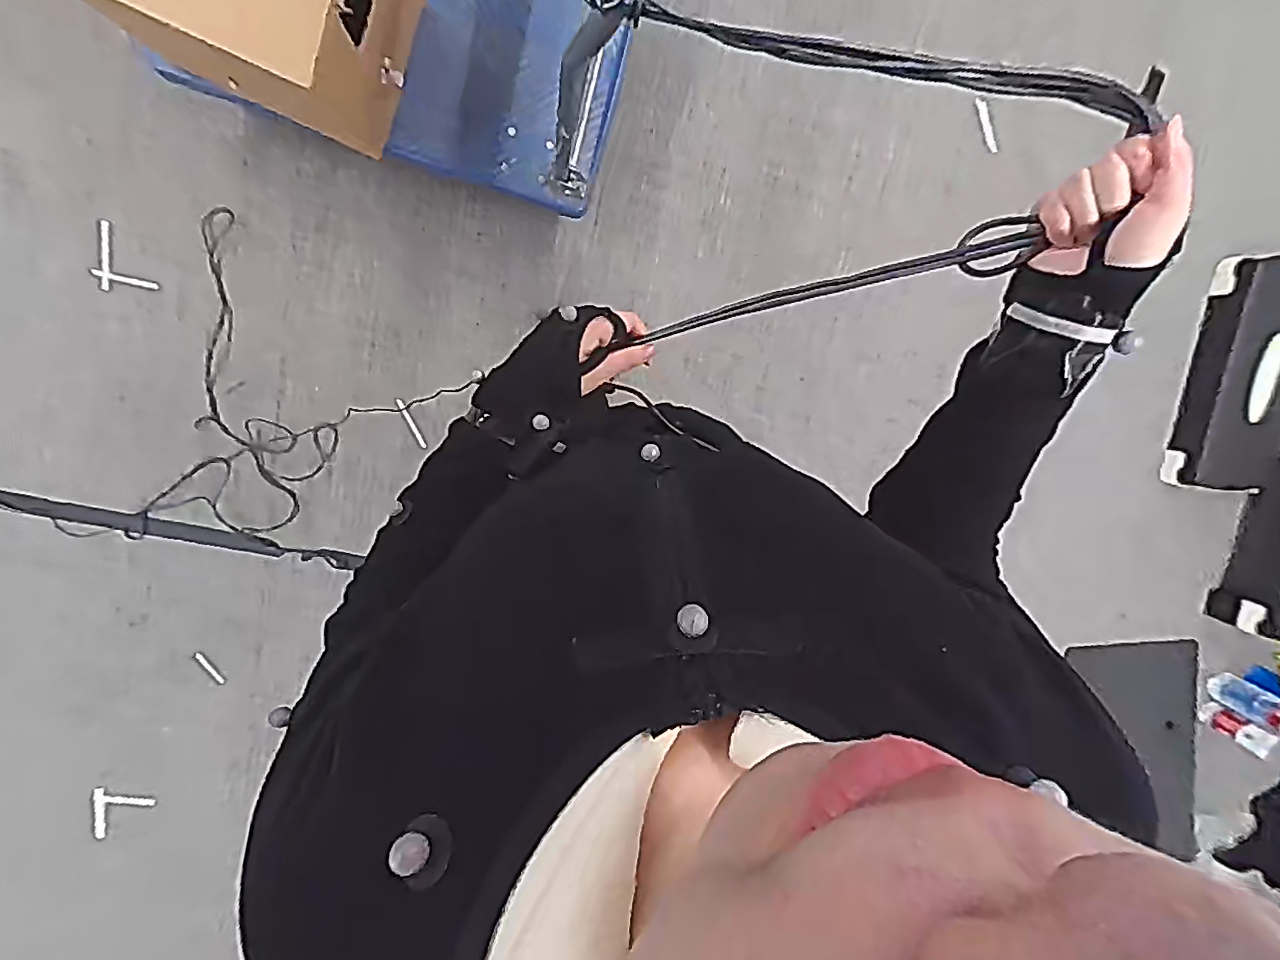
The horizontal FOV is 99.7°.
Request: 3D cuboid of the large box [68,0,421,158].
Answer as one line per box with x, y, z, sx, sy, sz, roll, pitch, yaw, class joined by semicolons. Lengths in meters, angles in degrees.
-0.639;-0.815;0.892;0.408;0.320;0.320;21;99;-11;large box
